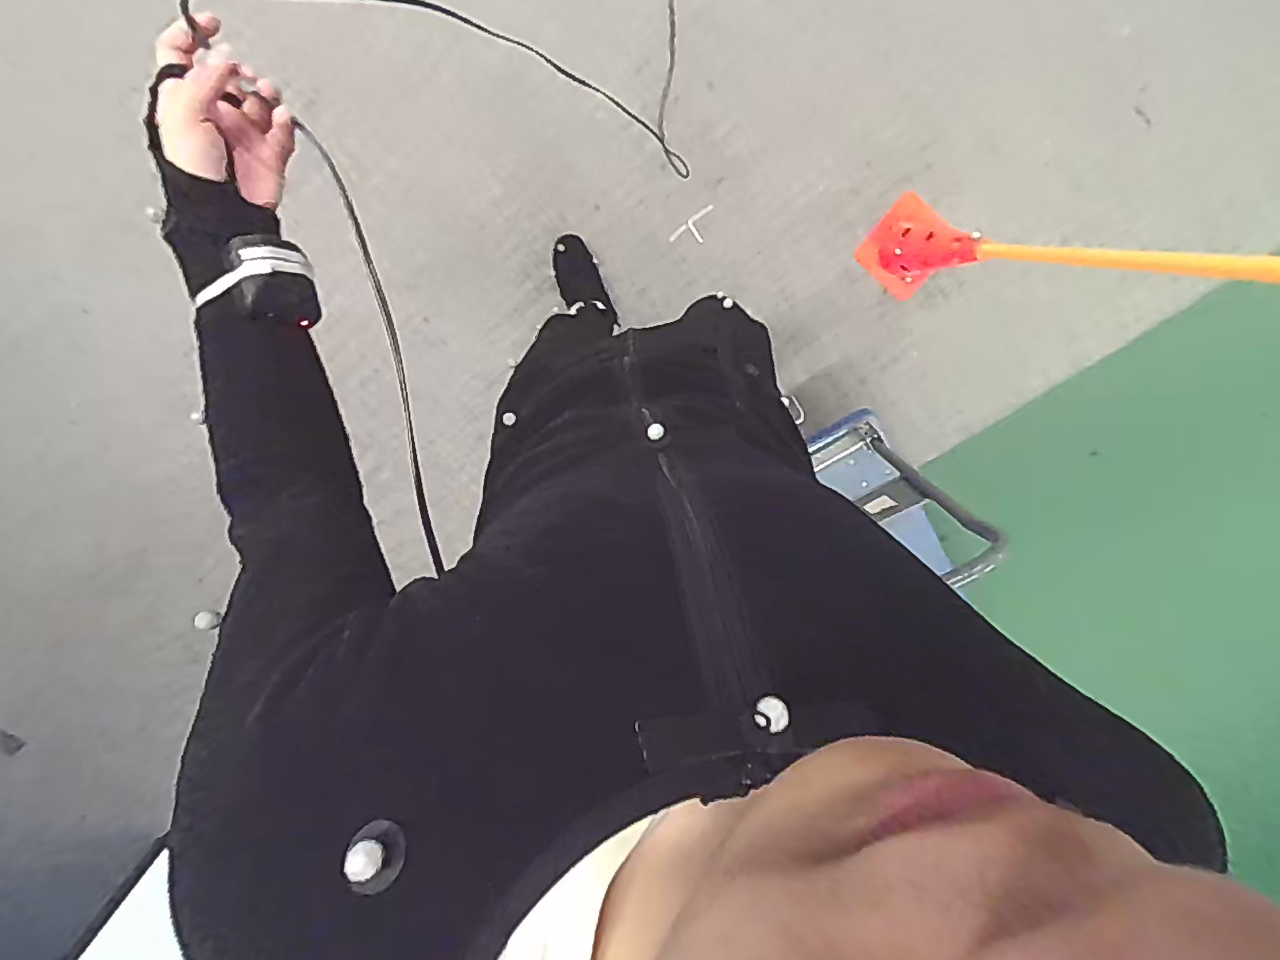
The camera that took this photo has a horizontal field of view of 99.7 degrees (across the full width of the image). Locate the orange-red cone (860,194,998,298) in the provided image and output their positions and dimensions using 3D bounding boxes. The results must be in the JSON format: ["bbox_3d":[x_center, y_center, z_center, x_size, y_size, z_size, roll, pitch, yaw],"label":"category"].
[{"bbox_3d":[0.700,-0.535,1.247,0.198,0.360,0.199,36,108,-15],"label":"orange-red cone"}]
